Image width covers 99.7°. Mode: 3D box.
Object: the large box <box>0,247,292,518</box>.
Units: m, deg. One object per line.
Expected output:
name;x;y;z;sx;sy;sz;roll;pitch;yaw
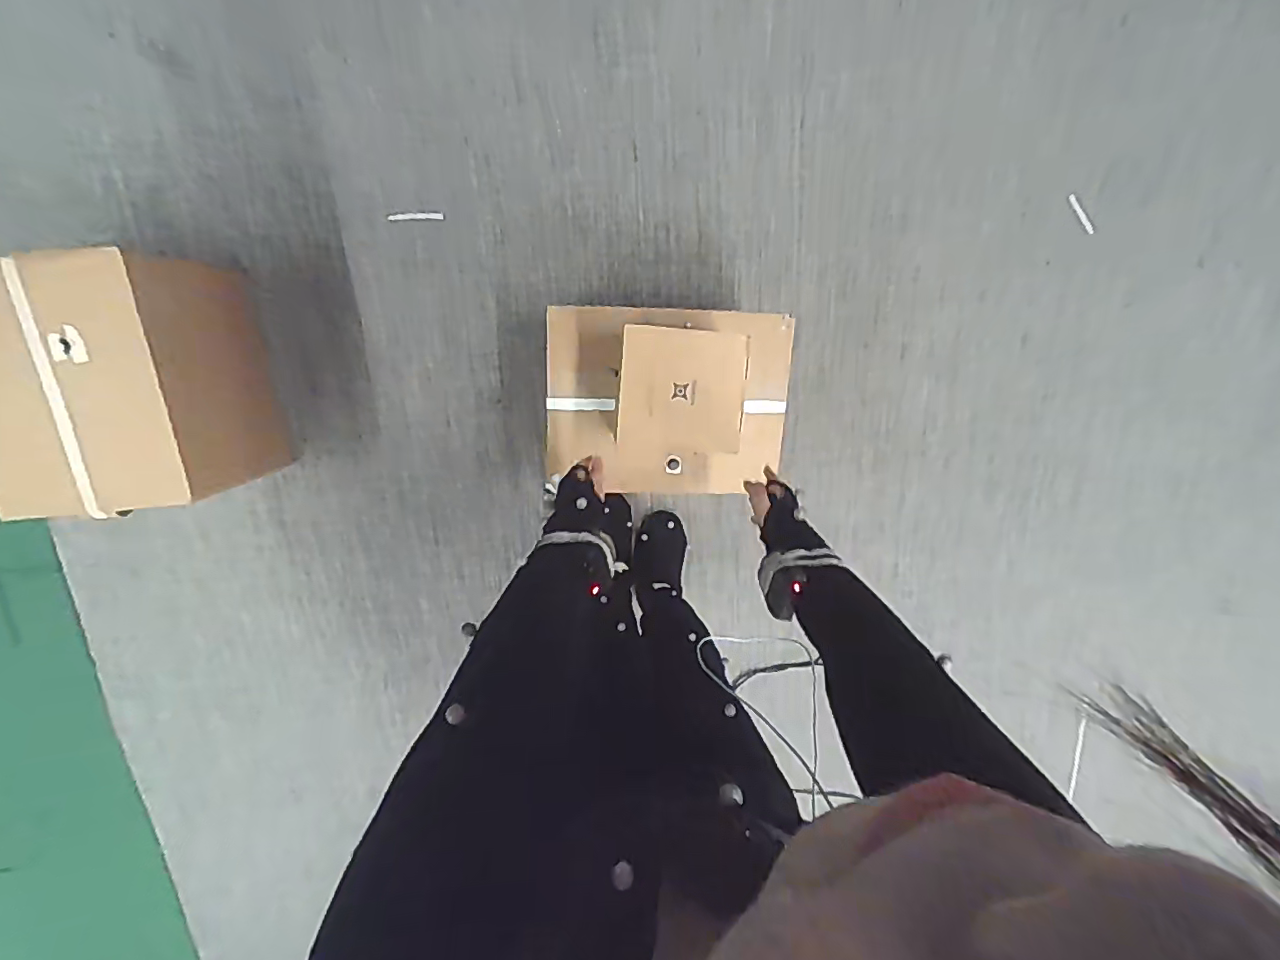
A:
large box;-0.917;-0.174;0.991;0.320;0.320;0.408;-5;103;-2

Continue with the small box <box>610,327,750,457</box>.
small box;0.050;-0.133;0.817;0.179;0.176;0.168;4;100;-5
